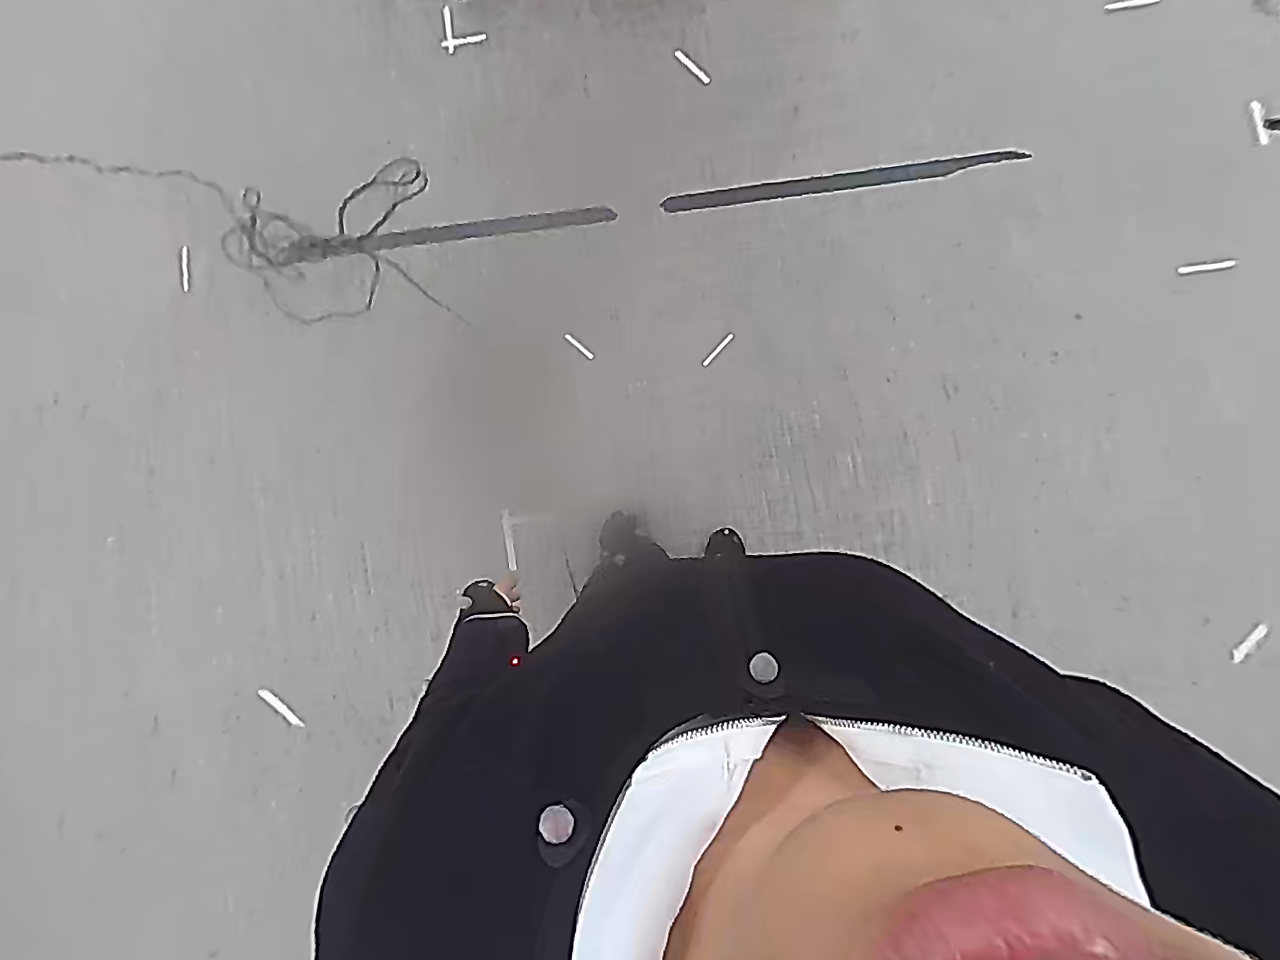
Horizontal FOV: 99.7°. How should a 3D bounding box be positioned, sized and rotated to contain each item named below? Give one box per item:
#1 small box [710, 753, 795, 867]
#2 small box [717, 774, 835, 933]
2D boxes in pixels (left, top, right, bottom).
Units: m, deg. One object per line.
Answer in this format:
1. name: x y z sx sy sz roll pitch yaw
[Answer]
1. small box: 0.250 0.696 1.178 0.168 0.176 0.179 -9 86 2
2. small box: 0.246 0.689 1.014 0.168 0.176 0.179 -11 85 2
